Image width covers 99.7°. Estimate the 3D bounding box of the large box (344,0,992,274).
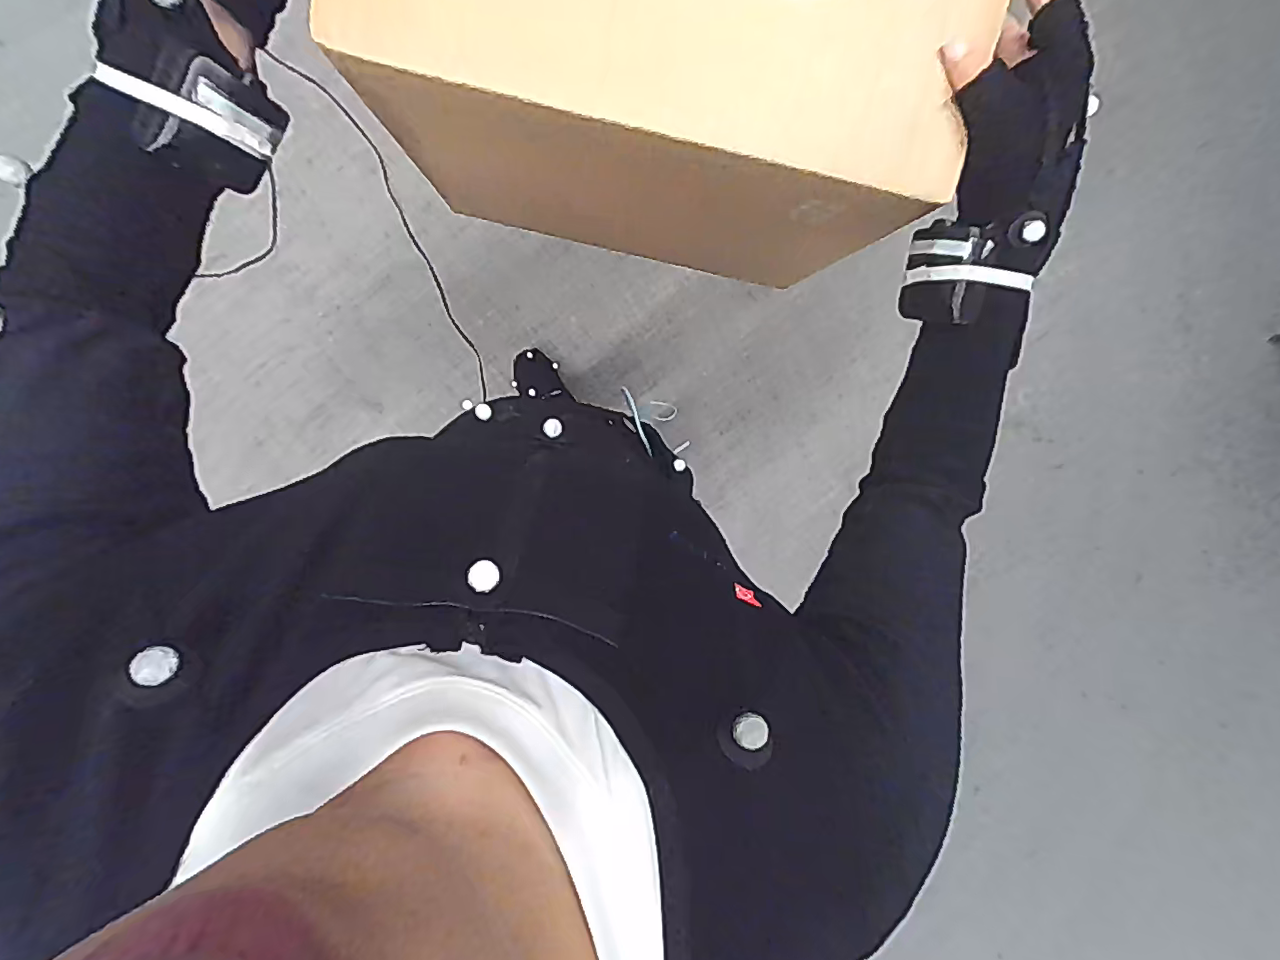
[{"bbox_3d":[0.025,-0.401,0.468,0.408,0.320,0.320,9,99,-8],"label":"large box"}]
